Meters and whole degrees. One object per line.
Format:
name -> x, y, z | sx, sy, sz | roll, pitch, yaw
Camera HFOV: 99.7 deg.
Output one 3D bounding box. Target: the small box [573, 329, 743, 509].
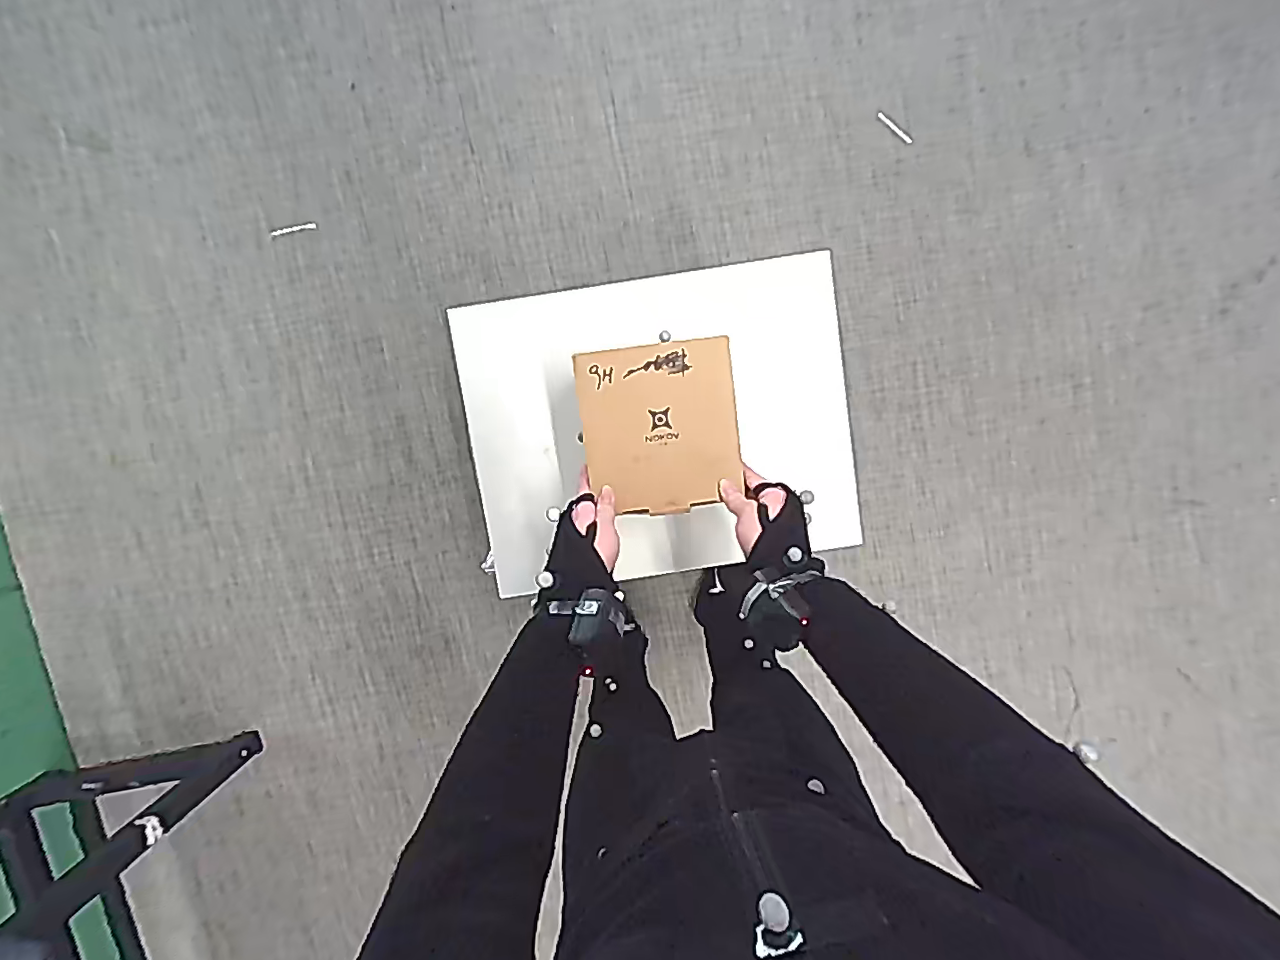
small box -> 0.021, -0.072, 0.657 | 0.168, 0.176, 0.179 | -9, 95, 1
